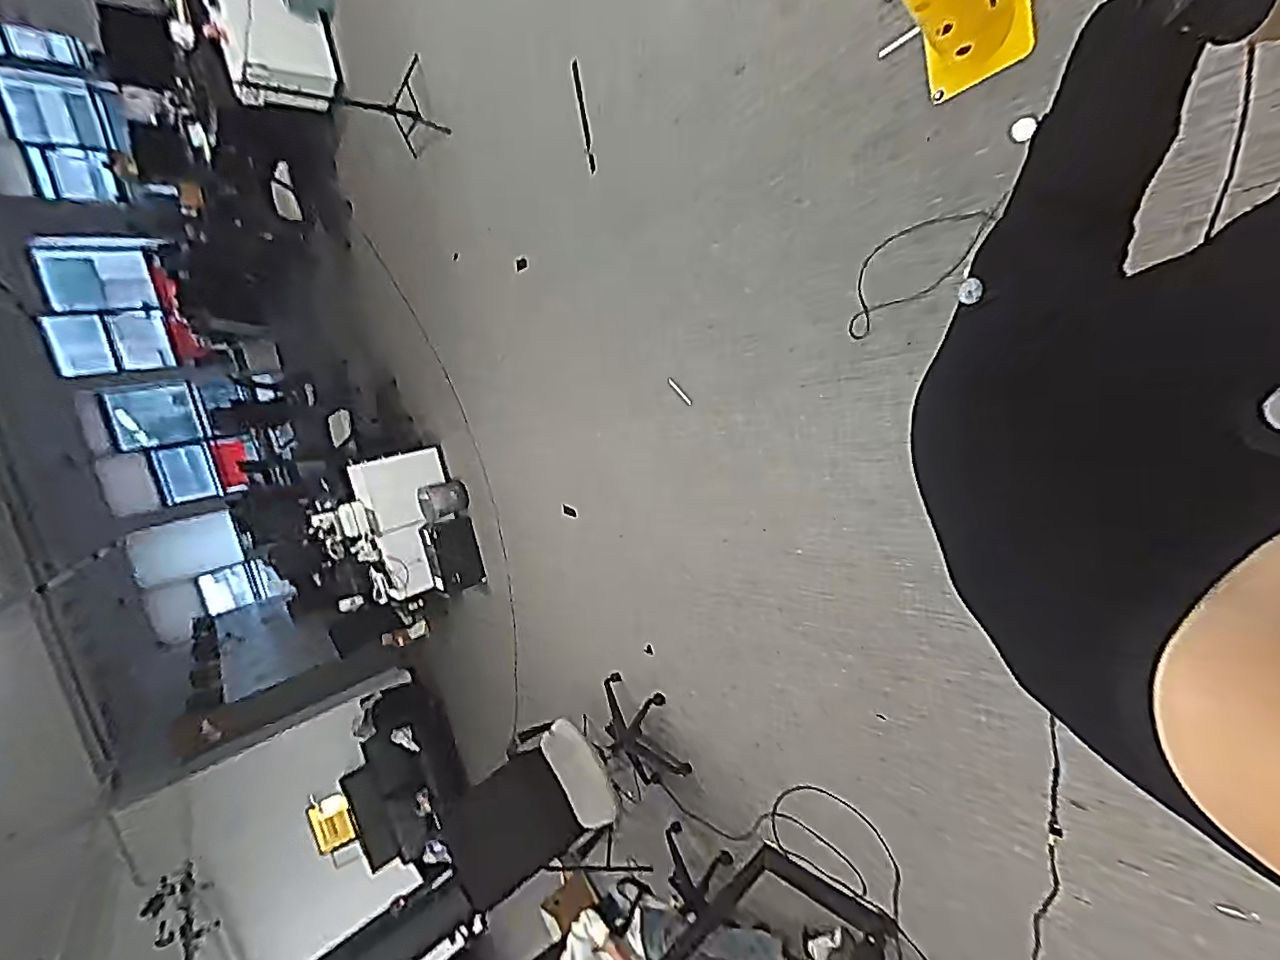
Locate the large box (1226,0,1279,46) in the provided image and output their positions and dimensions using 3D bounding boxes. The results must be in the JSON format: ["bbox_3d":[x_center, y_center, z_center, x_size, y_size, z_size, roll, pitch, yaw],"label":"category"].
[{"bbox_3d":[0.596,-0.444,0.234,0.408,0.320,0.320,24,127,41],"label":"large box"}]
